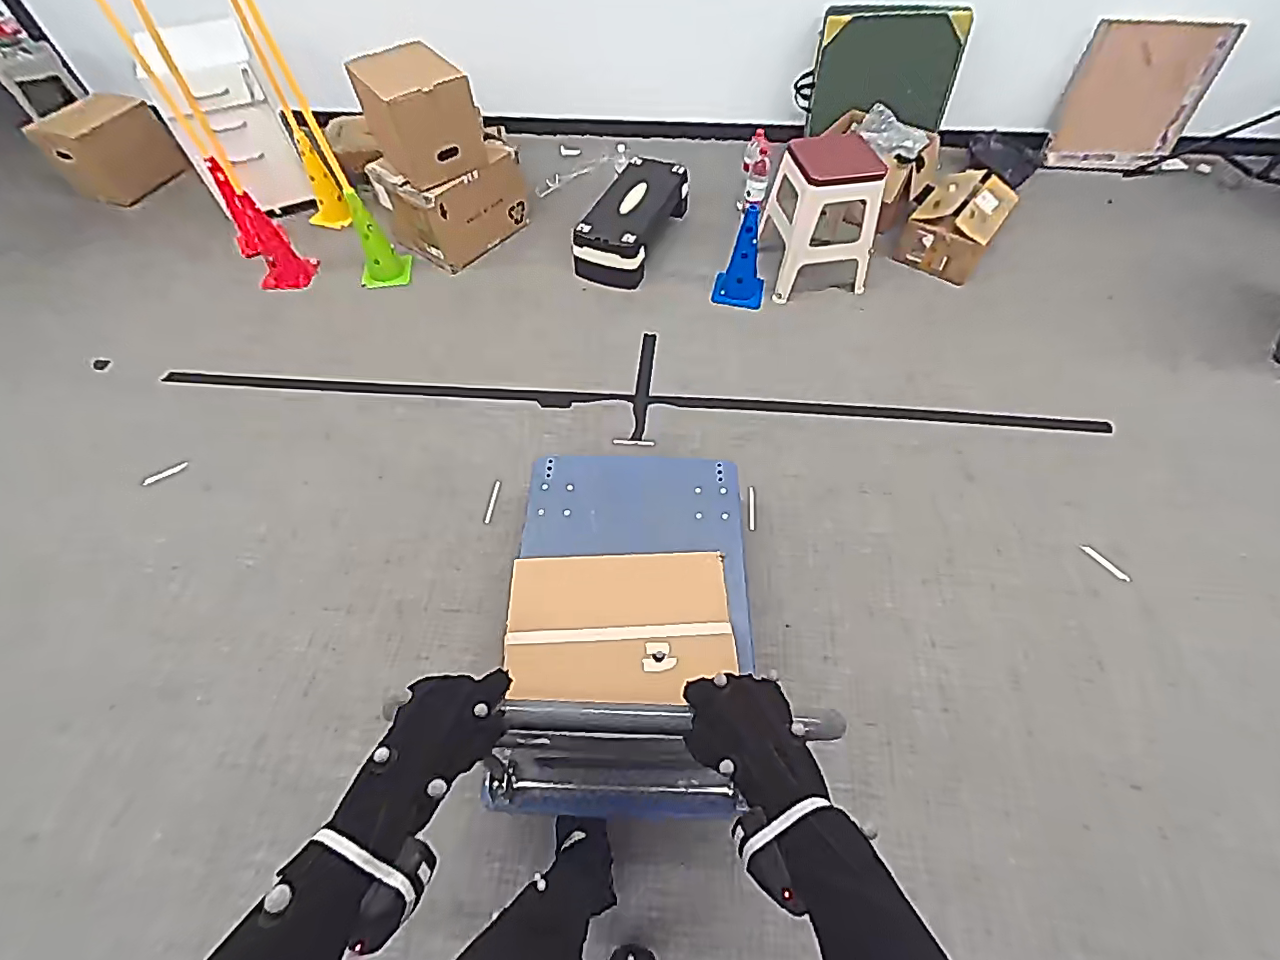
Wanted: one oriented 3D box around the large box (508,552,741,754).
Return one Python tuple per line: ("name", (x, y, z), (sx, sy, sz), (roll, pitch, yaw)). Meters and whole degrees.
("large box", (-0.038, 0.362, 1.112), (0.408, 0.320, 0.320), (-1, 56, -3))
